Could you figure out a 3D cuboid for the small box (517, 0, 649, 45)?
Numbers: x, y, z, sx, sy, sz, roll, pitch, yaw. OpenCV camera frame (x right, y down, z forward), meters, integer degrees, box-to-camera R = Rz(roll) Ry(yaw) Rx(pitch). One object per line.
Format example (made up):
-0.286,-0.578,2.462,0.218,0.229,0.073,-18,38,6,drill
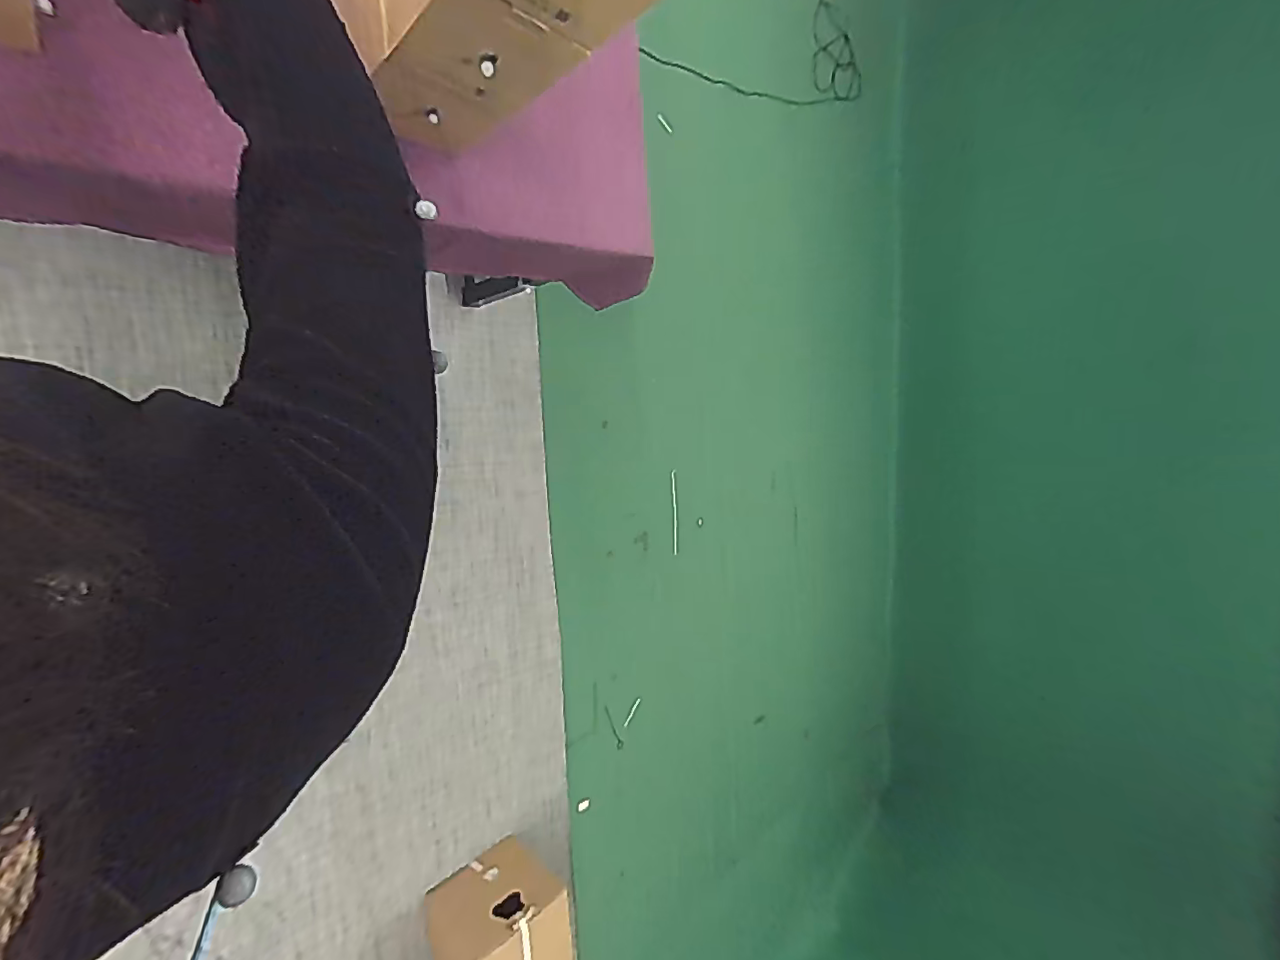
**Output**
-0.054,-0.545,0.479,0.168,0.176,0.179,-7,98,-44,small box

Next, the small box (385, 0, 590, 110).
-0.170,-0.556,0.598,0.168,0.176,0.179,-5,98,-45,small box

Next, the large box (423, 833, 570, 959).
-0.437,1.425,1.670,0.320,0.320,0.408,-12,103,-45,large box
